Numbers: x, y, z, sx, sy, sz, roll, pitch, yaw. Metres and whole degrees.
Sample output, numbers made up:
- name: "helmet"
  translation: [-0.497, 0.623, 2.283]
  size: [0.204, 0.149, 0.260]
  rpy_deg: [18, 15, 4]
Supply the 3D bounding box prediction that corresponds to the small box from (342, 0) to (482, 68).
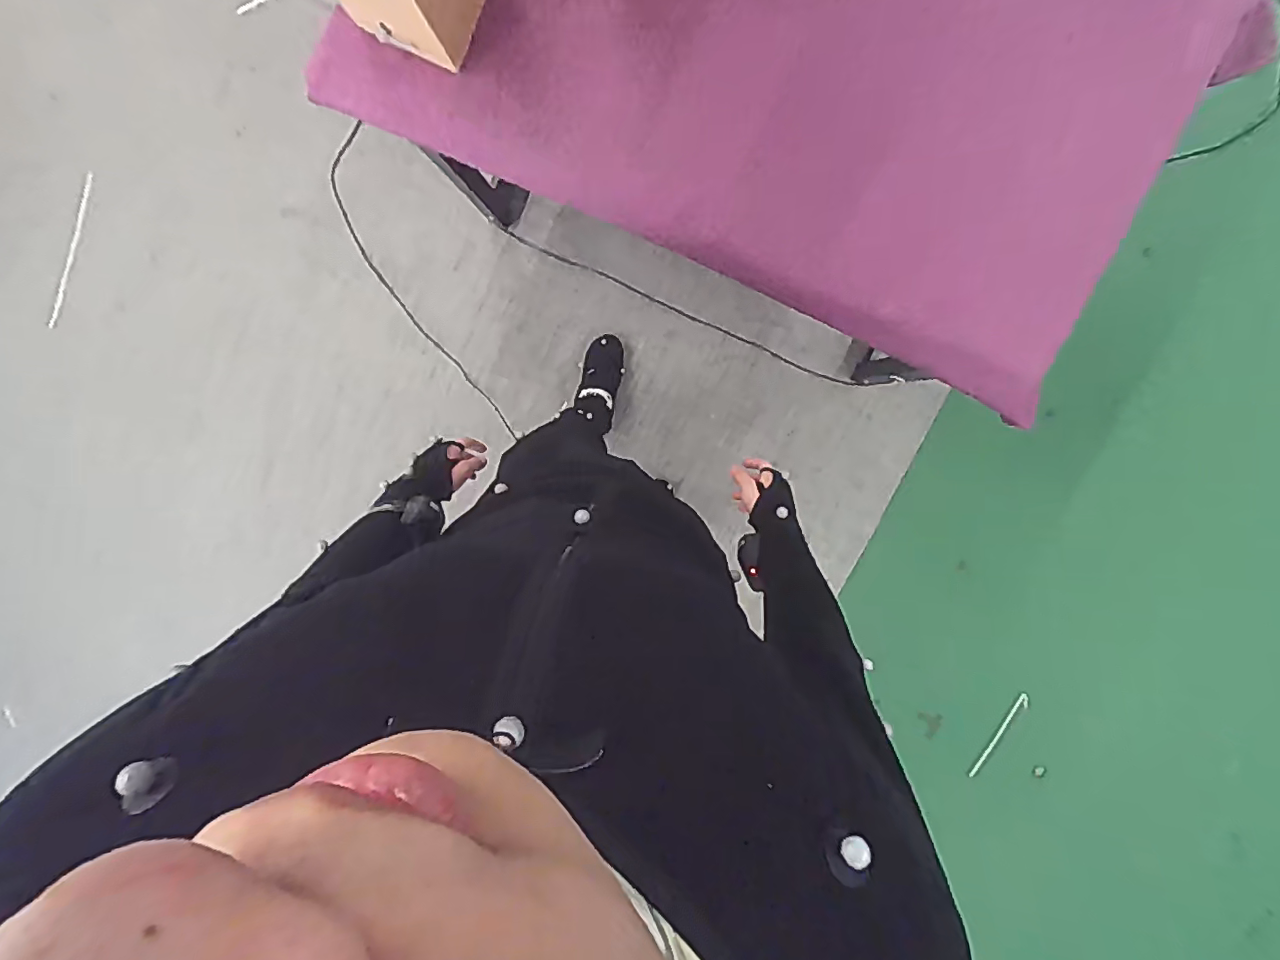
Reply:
- name: "small box"
  translation: [-0.318, -0.712, 0.718]
  size: [0.168, 0.176, 0.179]
  rpy_deg: [24, 98, -1]
